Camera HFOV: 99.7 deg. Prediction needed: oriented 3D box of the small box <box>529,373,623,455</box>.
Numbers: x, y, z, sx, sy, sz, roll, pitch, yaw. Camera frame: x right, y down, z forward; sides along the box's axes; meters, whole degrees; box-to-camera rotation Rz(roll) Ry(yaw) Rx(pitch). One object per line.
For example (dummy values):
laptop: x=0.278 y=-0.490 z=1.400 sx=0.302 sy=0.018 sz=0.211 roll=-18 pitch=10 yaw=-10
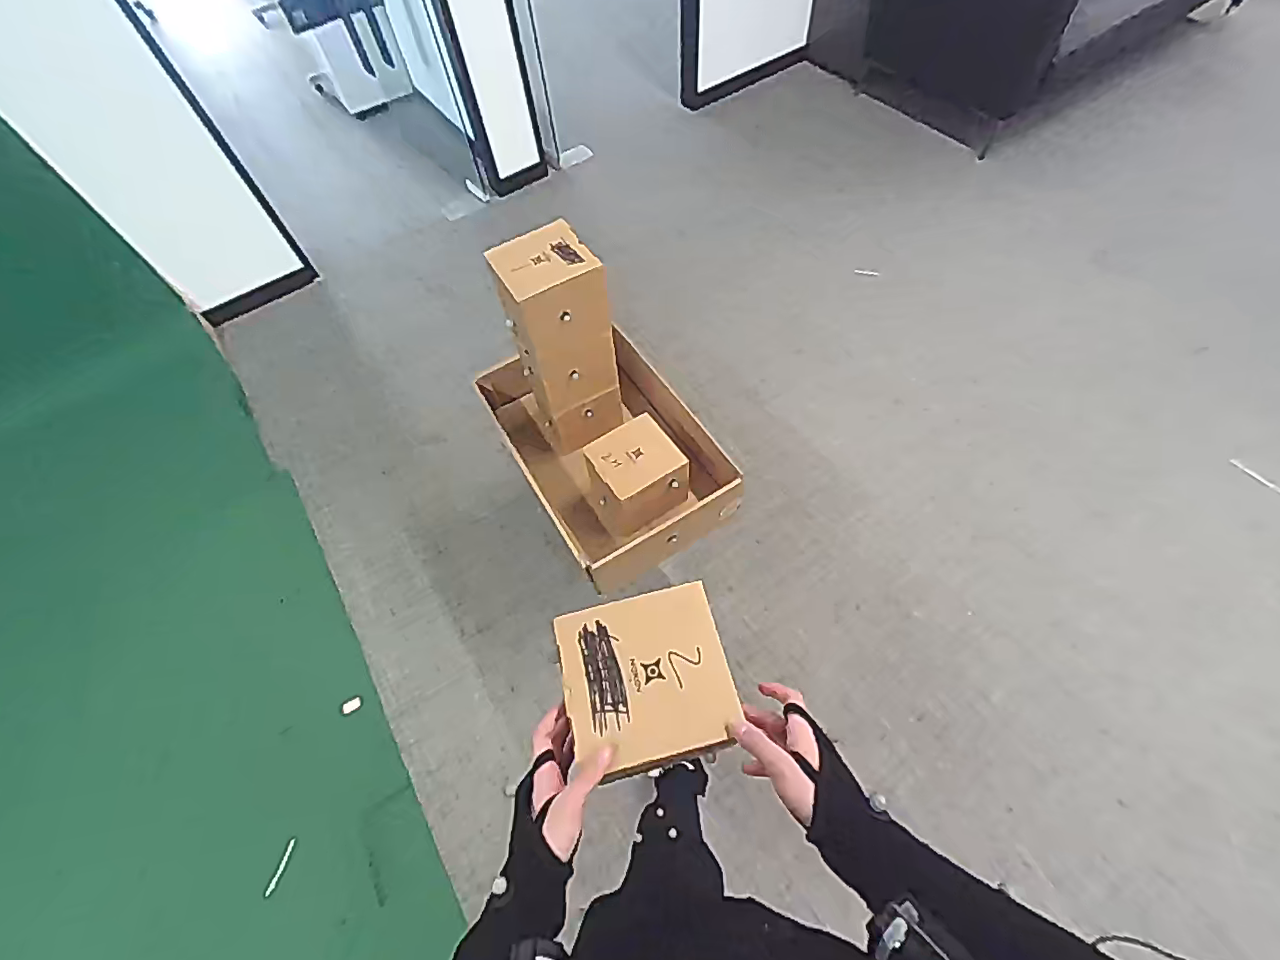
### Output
small box: x=-0.154 y=-0.192 z=1.355 sx=0.179 sy=0.176 sz=0.168 roll=-26 pitch=62 yaw=-13

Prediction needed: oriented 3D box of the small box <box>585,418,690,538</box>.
small box: x=-0.004 y=-0.001 z=1.227 sx=0.179 sy=0.176 sz=0.168 roll=-30 pitch=61 yaw=-14

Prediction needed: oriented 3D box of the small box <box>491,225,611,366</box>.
small box: x=-0.167 y=-0.362 z=1.074 sx=0.179 sy=0.176 sz=0.168 roll=-28 pitch=63 yaw=-13

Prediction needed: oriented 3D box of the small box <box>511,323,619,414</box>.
small box: x=-0.161 y=-0.278 z=1.215 sx=0.179 sy=0.176 sz=0.168 roll=-27 pitch=63 yaw=-12
